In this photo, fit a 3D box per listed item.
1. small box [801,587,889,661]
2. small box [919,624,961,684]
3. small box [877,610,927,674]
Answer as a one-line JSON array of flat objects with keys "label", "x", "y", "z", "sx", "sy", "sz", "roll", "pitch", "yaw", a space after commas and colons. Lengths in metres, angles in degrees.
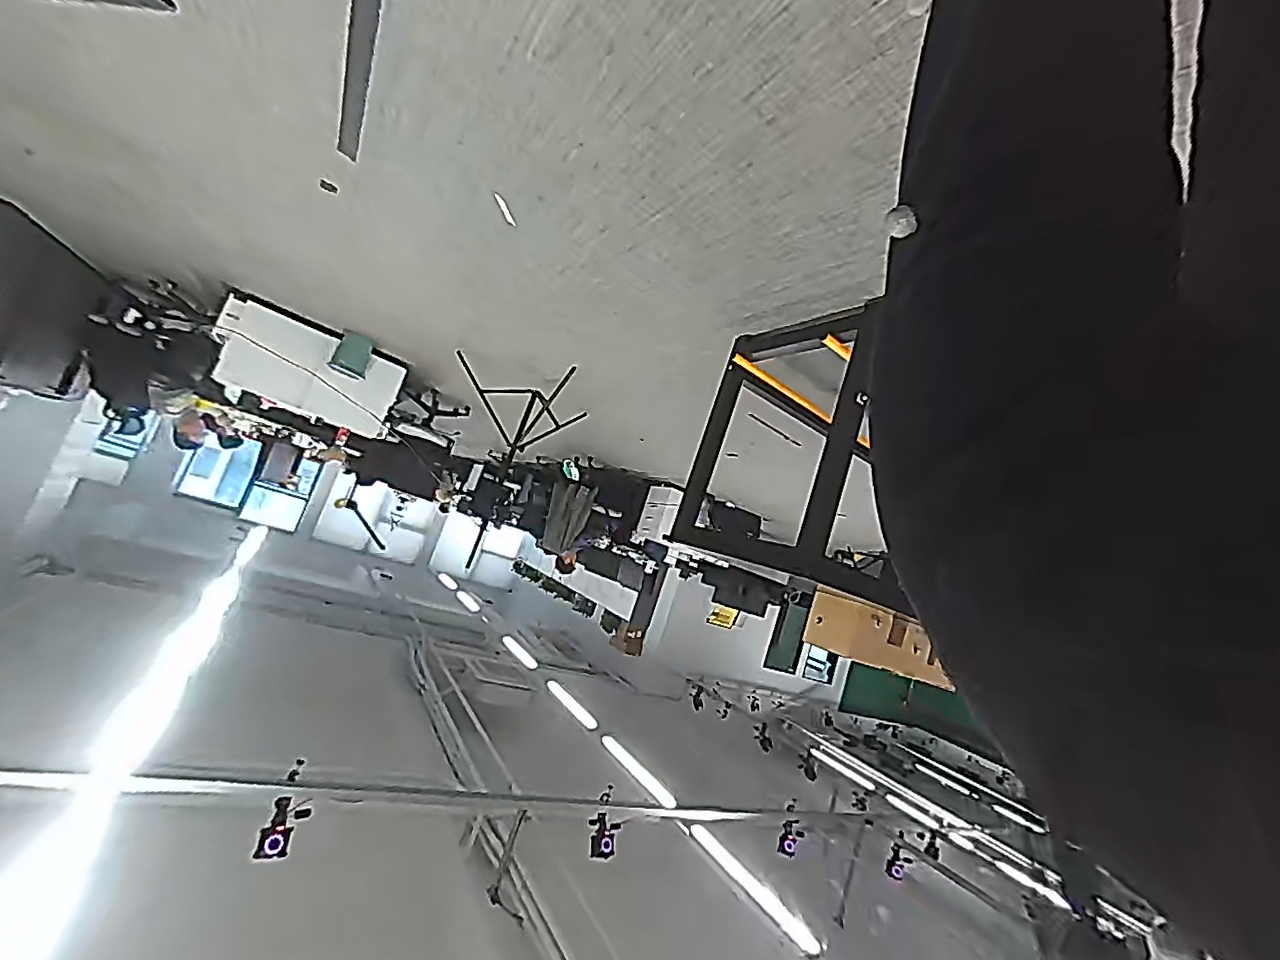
[{"label": "small box", "x": 0.636, "y": 0.439, "z": 1.675, "sx": 0.168, "sy": 0.176, "sz": 0.179, "roll": 22, "pitch": 172, "yaw": -30}, {"label": "small box", "x": 1.004, "y": 0.601, "z": 1.919, "sx": 0.179, "sy": 0.176, "sz": 0.168, "roll": 24, "pitch": 171, "yaw": -31}, {"label": "small box", "x": 0.826, "y": 0.522, "z": 1.794, "sx": 0.168, "sy": 0.176, "sz": 0.179, "roll": 24, "pitch": 171, "yaw": -31}]
